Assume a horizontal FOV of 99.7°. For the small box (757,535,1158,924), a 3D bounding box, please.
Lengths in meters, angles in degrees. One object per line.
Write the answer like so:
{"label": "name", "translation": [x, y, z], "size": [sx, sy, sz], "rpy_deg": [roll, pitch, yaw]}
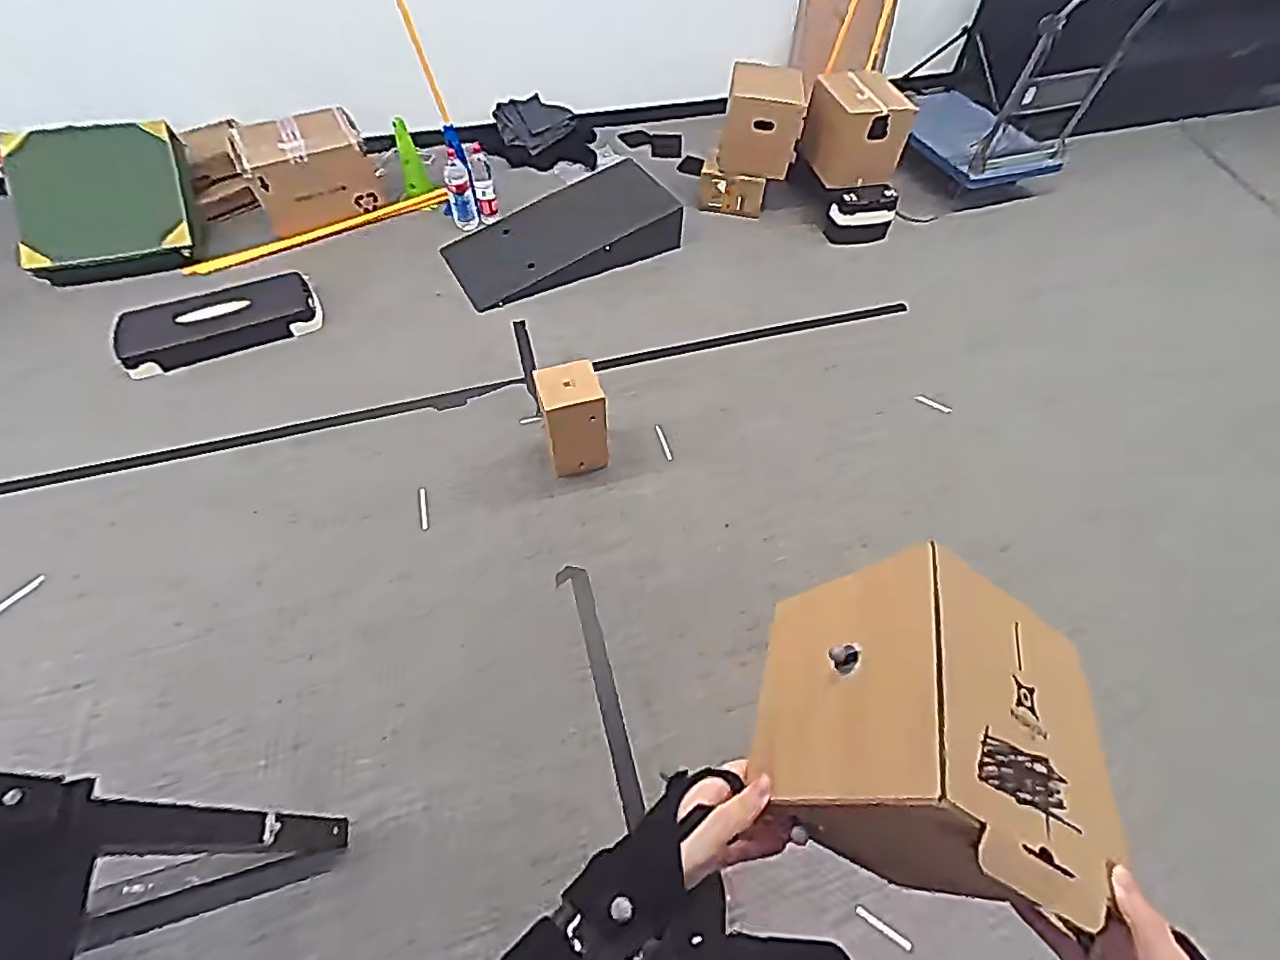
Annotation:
{"label": "small box", "translation": [0.209, 0.178, 0.397], "size": [0.168, 0.176, 0.179], "rpy_deg": [34, 49, -12]}

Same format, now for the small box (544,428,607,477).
{"label": "small box", "translation": [-0.210, -0.132, 1.732], "size": [0.179, 0.176, 0.168], "rpy_deg": [-13, 57, -11]}

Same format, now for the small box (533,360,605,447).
{"label": "small box", "translation": [-0.207, -0.222, 1.595], "size": [0.179, 0.176, 0.168], "rpy_deg": [-15, 57, -11]}
